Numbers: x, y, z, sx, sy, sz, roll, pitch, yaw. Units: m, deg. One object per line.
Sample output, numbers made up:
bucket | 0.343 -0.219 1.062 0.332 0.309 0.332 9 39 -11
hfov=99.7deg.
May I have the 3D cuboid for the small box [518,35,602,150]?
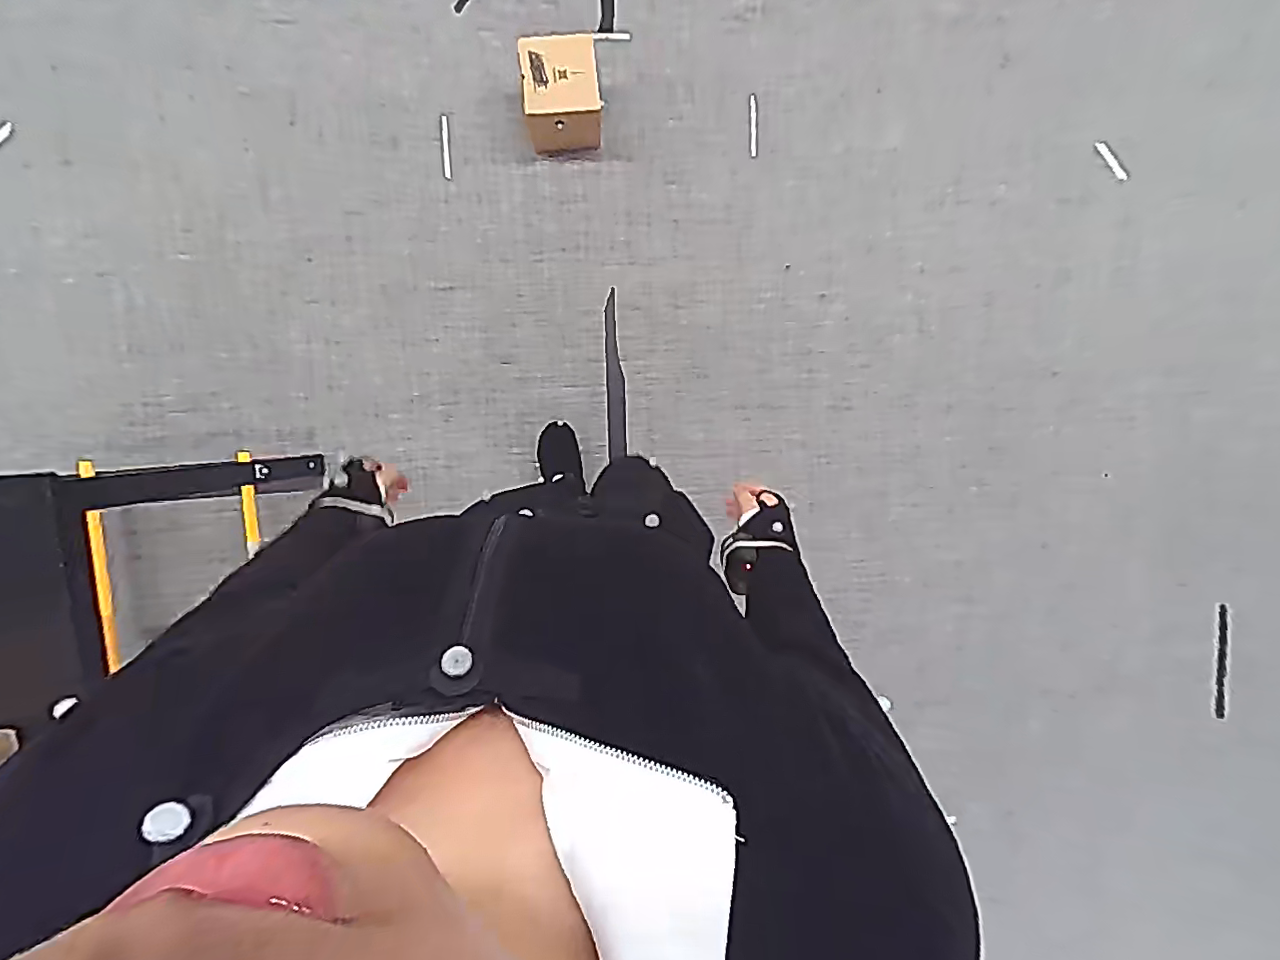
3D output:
small box | -0.187 -0.925 1.305 0.179 0.176 0.168 -7 96 -4
